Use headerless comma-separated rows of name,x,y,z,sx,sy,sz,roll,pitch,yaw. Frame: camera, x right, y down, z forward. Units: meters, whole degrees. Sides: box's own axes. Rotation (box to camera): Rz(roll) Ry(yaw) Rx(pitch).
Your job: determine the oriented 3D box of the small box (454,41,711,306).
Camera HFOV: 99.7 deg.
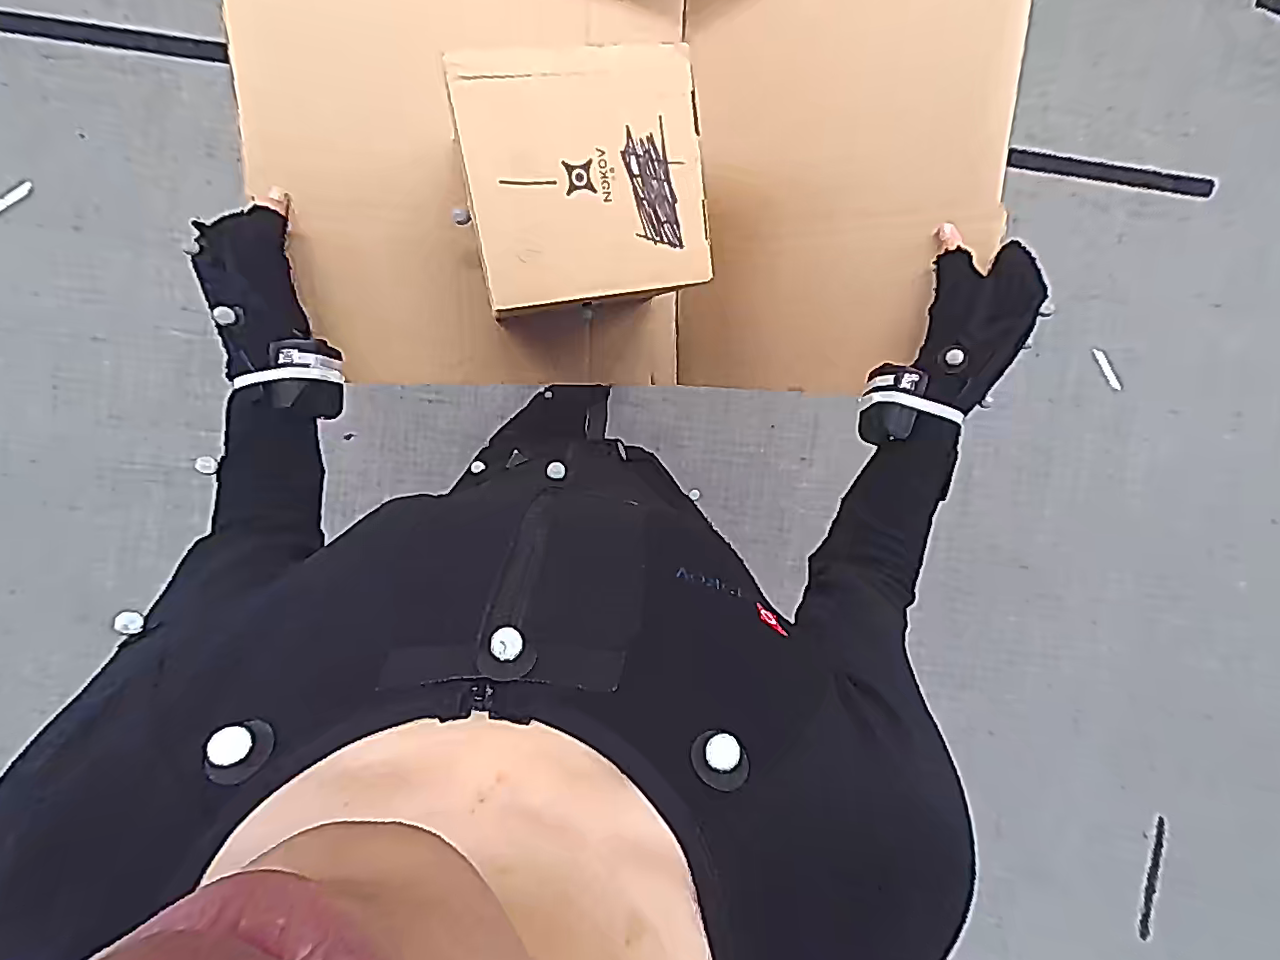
small box,-0.054,-0.252,0.479,0.179,0.176,0.168,-12,107,-11
